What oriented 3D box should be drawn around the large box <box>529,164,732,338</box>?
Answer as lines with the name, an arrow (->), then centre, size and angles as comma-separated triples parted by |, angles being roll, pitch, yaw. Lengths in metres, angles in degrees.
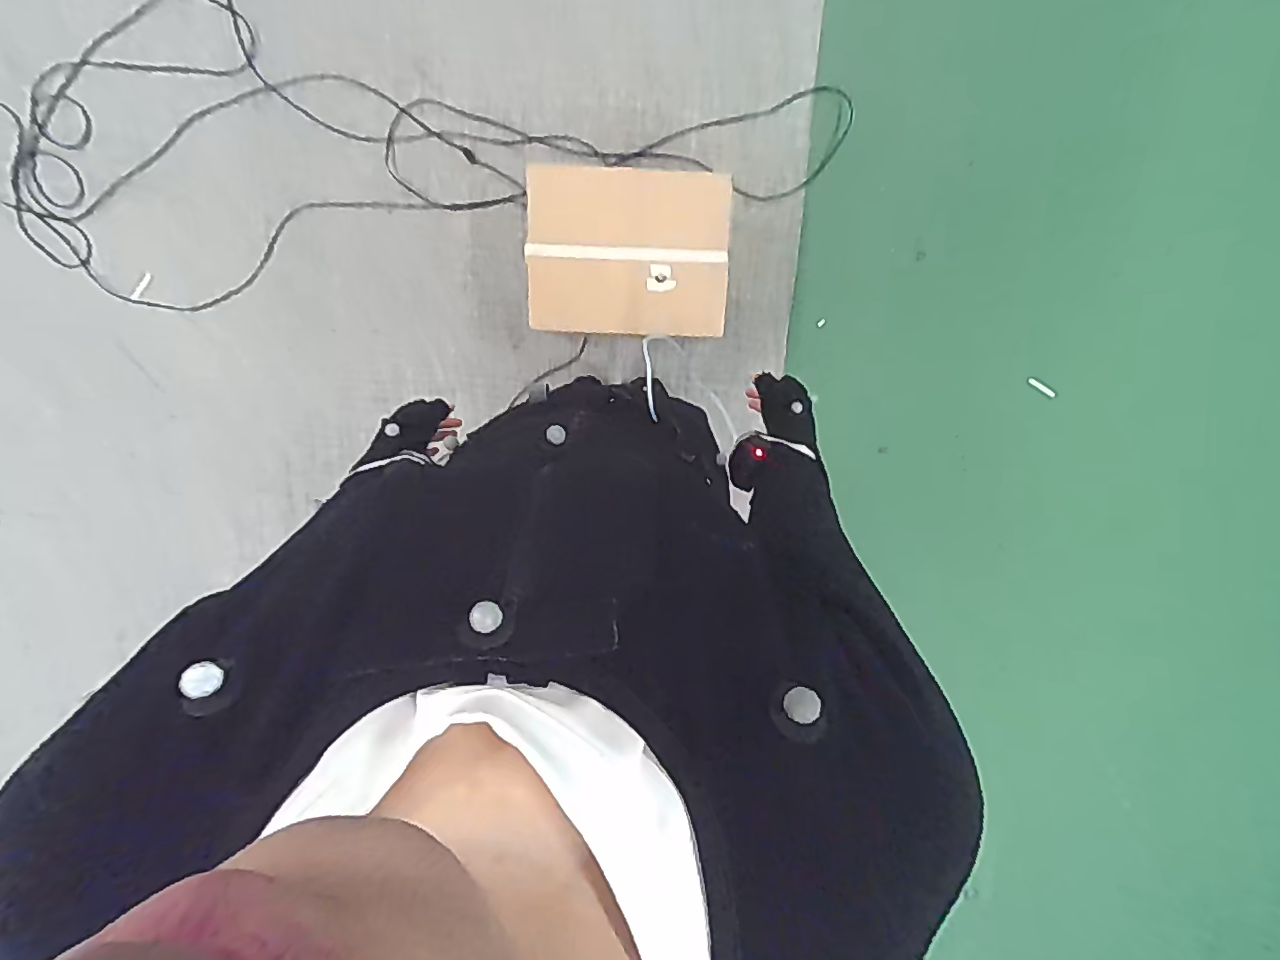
large box -> -0.028, -0.490, 1.229 | 0.408, 0.320, 0.320 | 2, 103, -3
